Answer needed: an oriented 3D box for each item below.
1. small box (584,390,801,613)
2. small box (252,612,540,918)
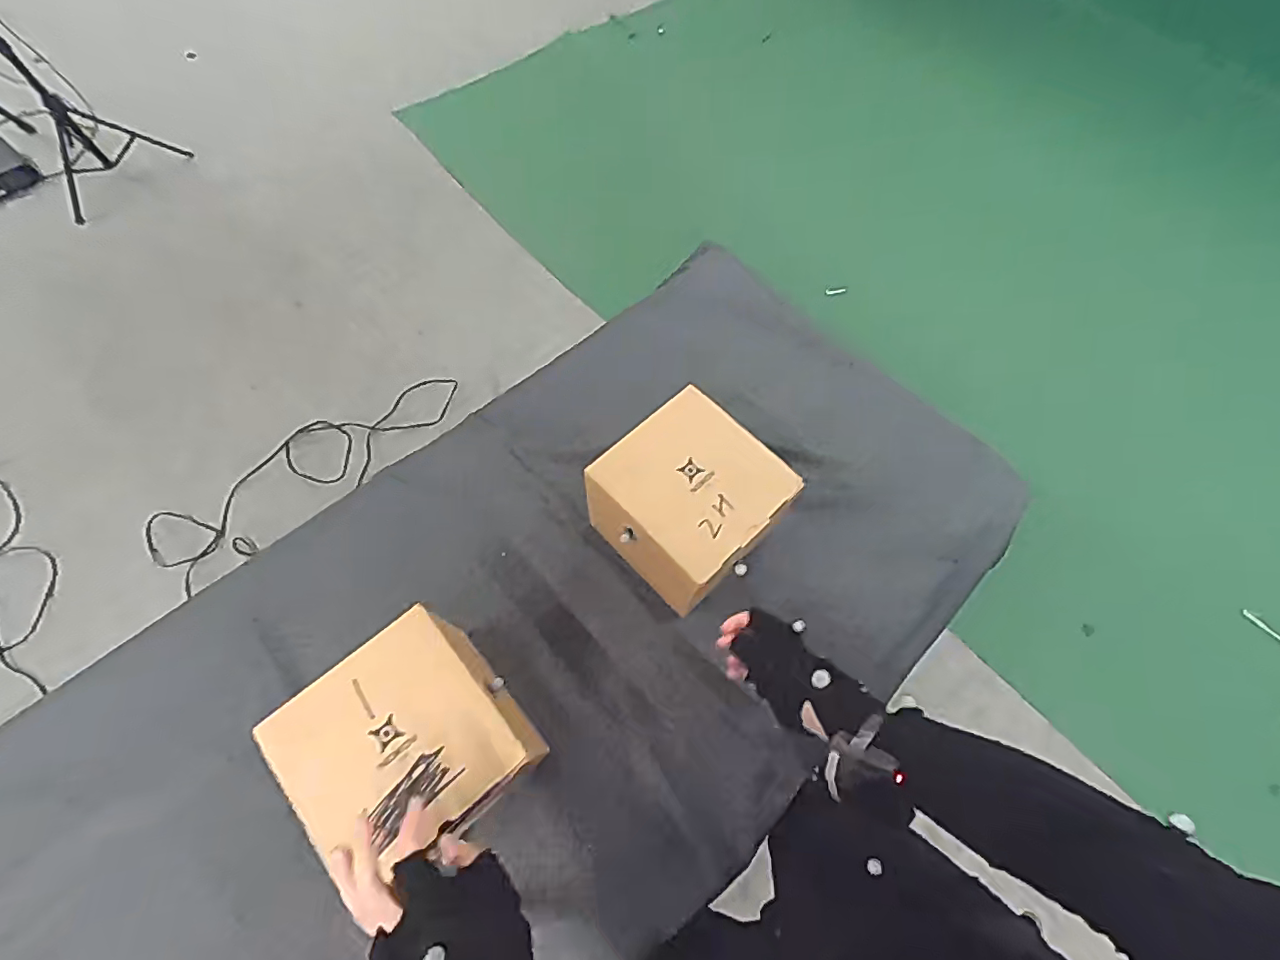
[{"bbox_3d":[0.052,0.034,0.646,0.168,0.176,0.179,-40,72,-18],"label":"small box"},{"bbox_3d":[-0.217,0.260,0.529,0.168,0.176,0.179,-38,71,-18],"label":"small box"}]
